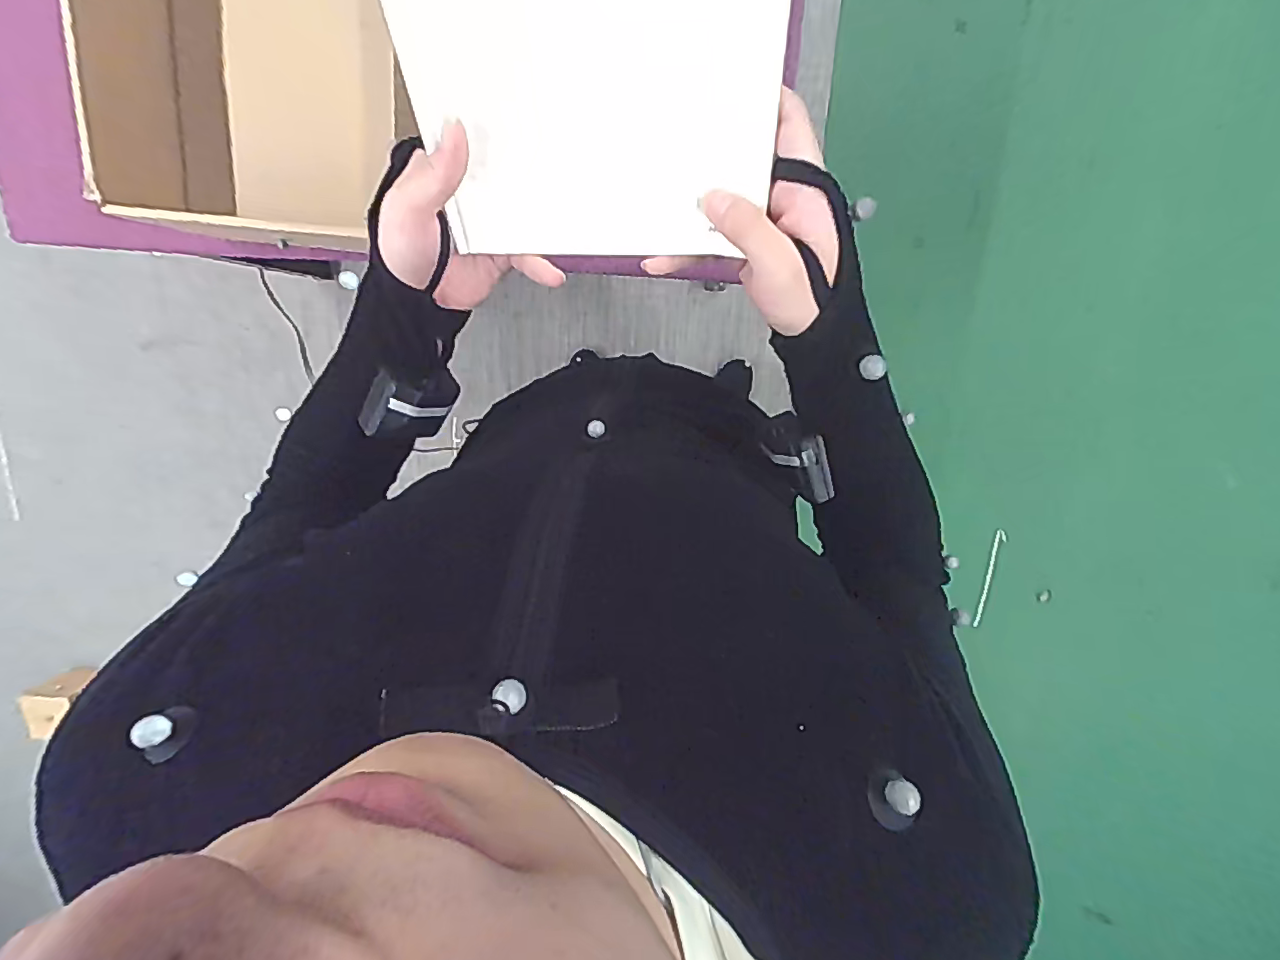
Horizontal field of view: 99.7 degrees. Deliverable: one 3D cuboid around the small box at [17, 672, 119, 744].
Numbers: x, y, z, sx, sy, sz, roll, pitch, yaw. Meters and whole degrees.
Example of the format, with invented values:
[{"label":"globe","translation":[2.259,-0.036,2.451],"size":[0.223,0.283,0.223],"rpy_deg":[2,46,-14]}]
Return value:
[{"label":"small box","translation":[-1.966,0.785,1.873],"size":[0.179,0.176,0.168],"rpy_deg":[1,102,4]}]
